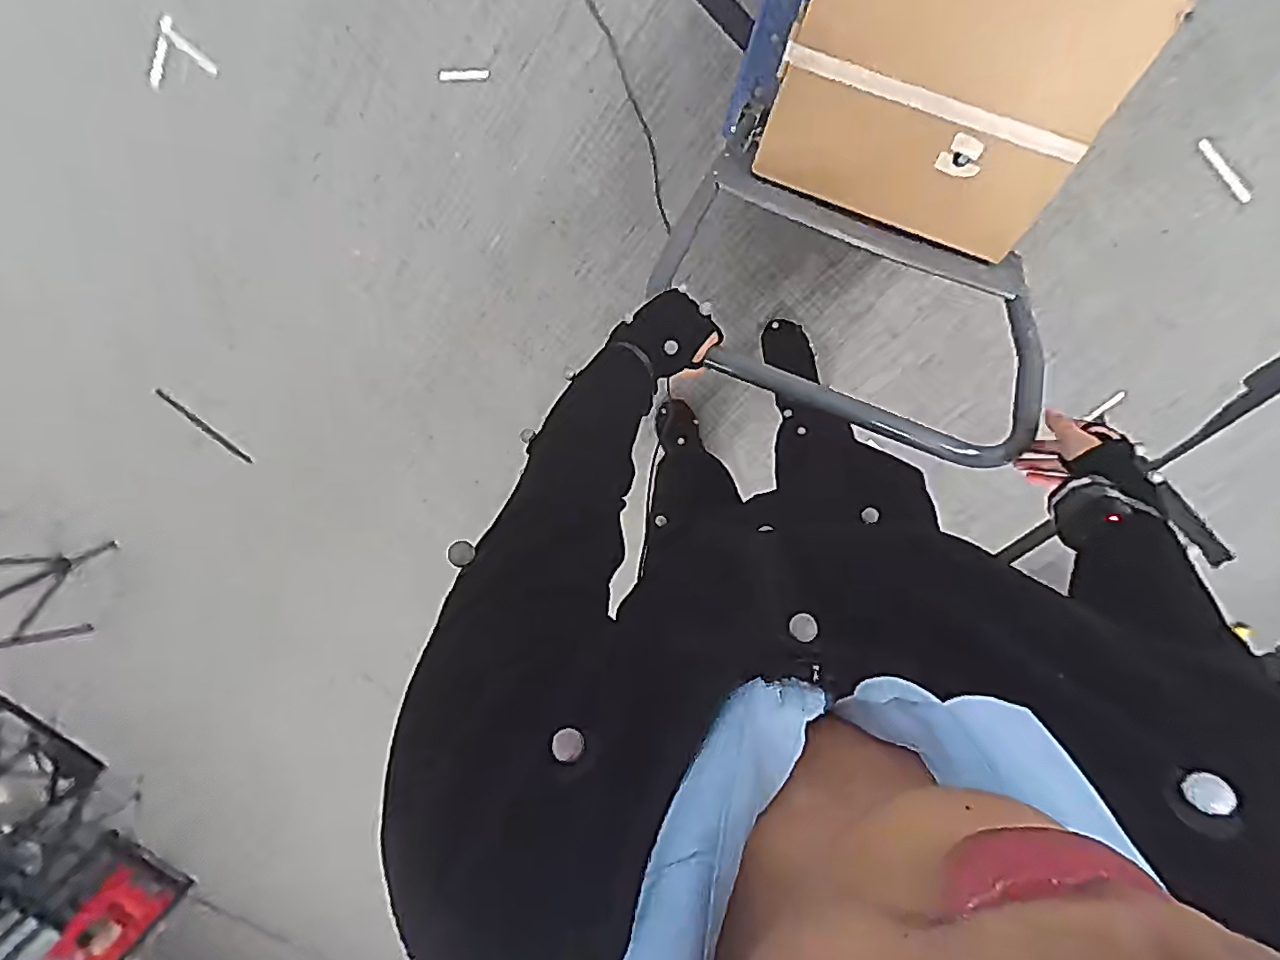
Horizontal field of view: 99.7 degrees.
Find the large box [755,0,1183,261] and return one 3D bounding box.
[{"bbox_3d":[0.434,-0.601,0.823,0.408,0.320,0.320,21,138,2],"label":"large box"}]
